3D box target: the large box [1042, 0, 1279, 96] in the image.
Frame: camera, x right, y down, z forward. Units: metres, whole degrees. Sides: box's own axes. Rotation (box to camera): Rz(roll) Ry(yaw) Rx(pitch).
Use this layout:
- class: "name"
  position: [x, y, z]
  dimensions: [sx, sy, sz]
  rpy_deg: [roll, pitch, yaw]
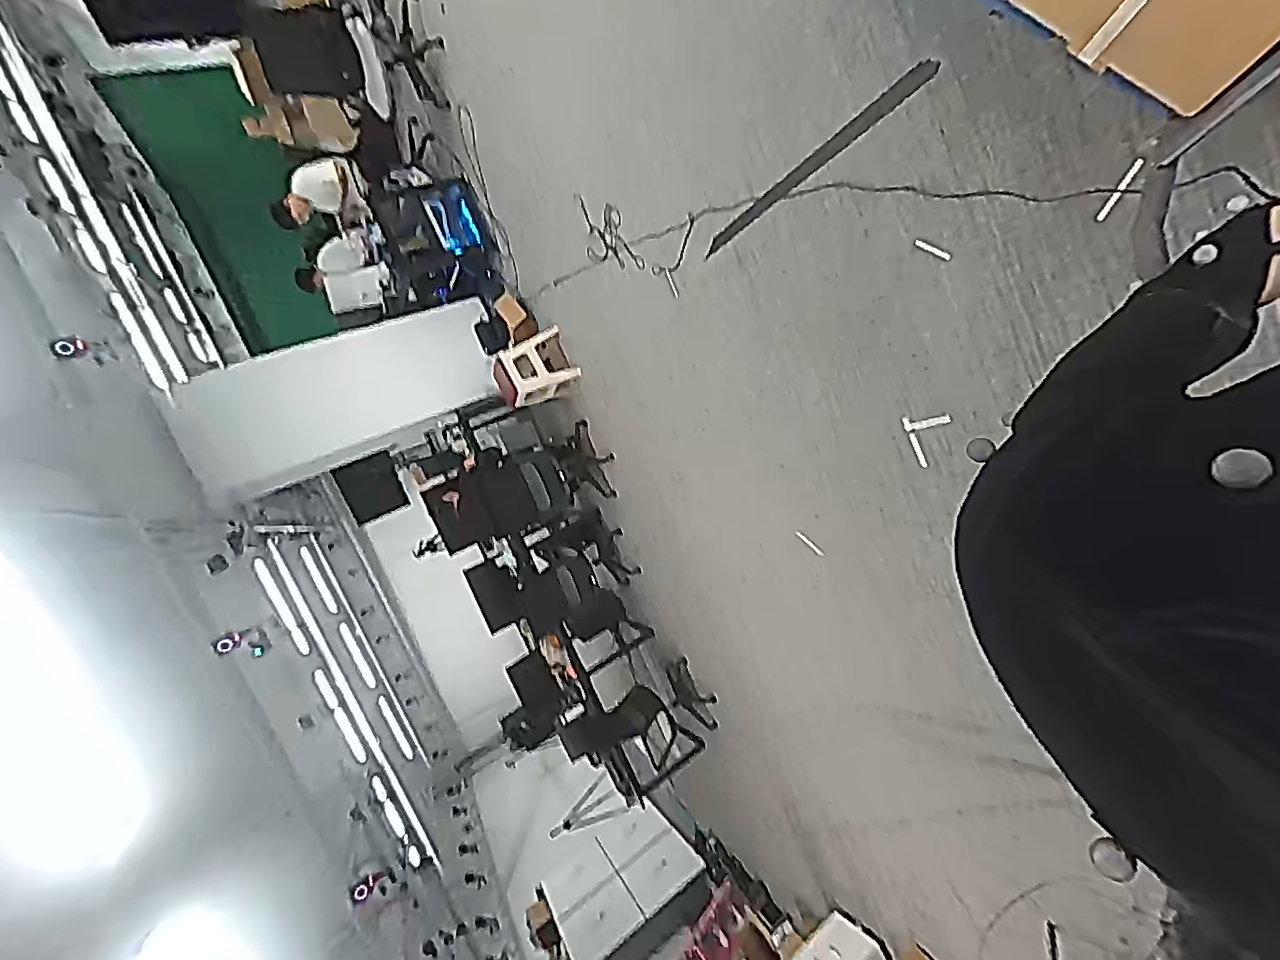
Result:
- class: "large box"
  position: [0.741, -0.759, 0.606]
  dimensions: [0.320, 0.320, 0.408]
  rpy_deg: [40, 151, 7]
